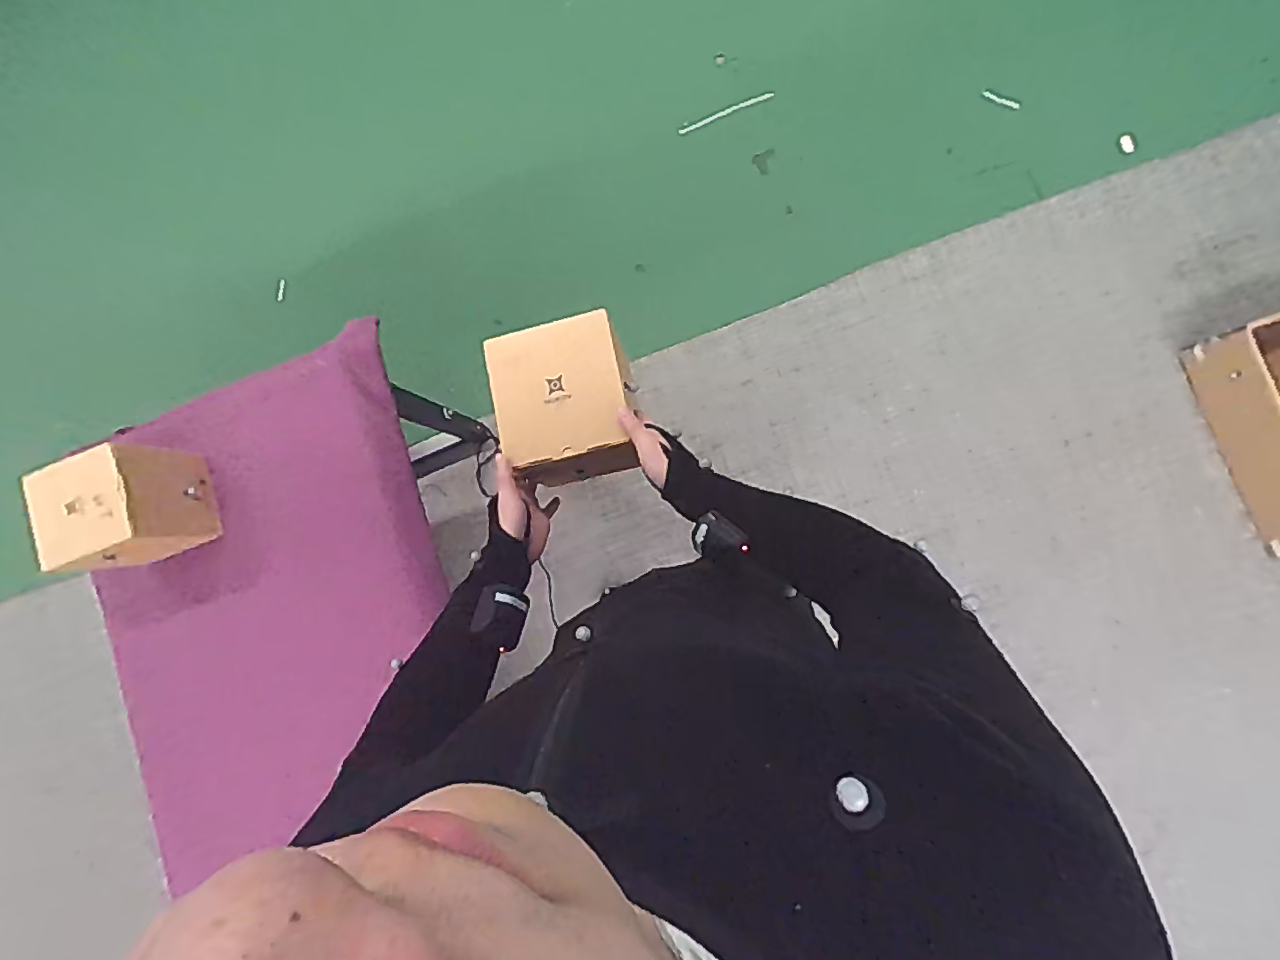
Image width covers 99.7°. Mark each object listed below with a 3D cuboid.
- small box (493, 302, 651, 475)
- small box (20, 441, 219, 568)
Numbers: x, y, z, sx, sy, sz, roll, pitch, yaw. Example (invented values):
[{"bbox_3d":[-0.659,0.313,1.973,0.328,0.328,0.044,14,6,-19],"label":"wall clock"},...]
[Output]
[{"bbox_3d":[-0.085,-0.114,0.748,0.168,0.176,0.179,-12,83,5],"label":"small box"},{"bbox_3d":[-0.900,0.045,0.948,0.179,0.176,0.168,-20,85,4],"label":"small box"}]
